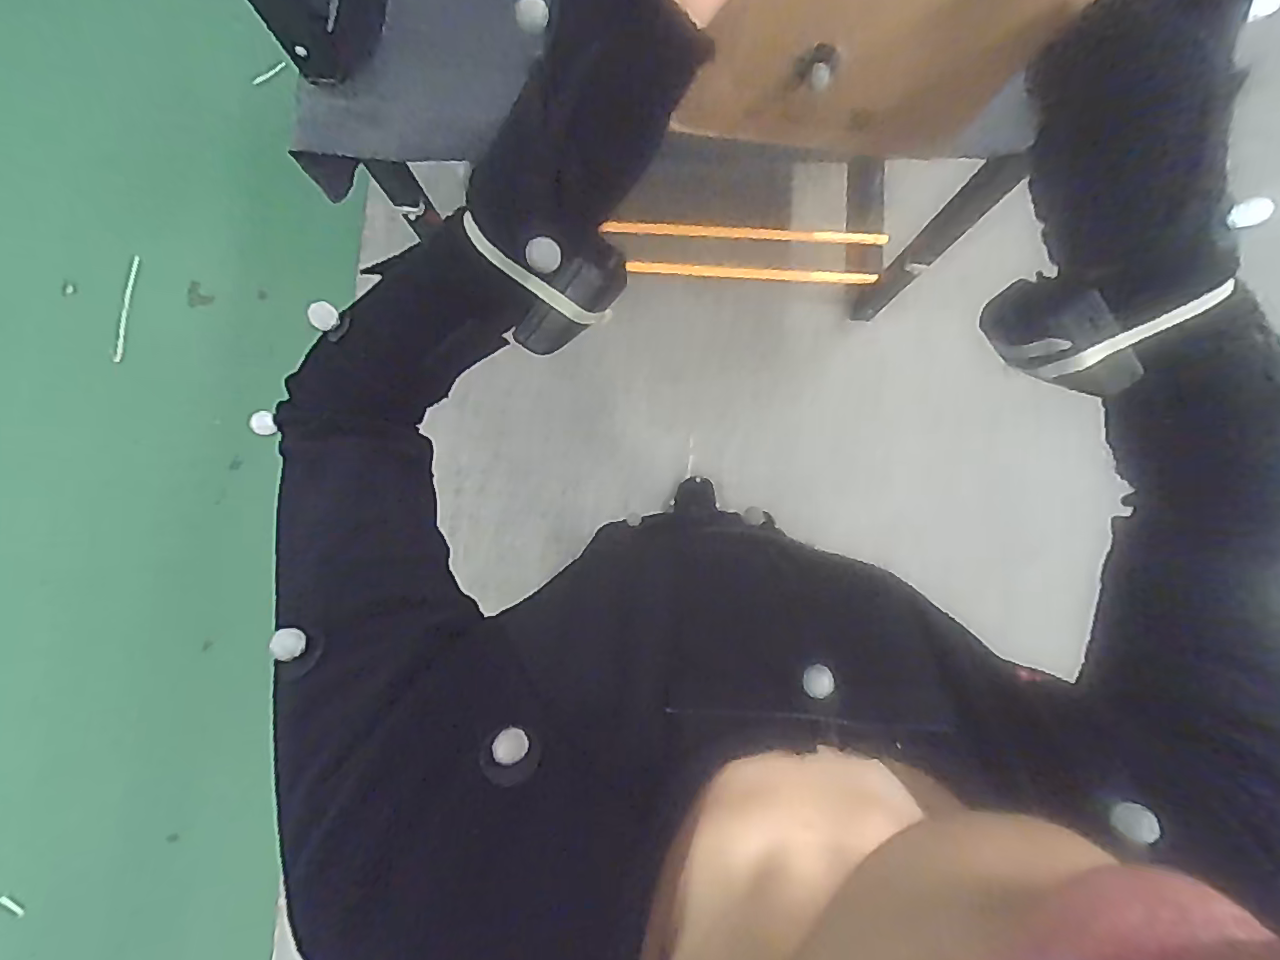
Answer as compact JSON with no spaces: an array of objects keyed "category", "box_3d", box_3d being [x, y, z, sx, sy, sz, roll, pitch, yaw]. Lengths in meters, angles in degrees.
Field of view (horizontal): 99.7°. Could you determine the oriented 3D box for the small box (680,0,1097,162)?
[{"category":"small box","box_3d":[0.113,-0.287,0.243,0.168,0.176,0.179,4,86,-4]}]
